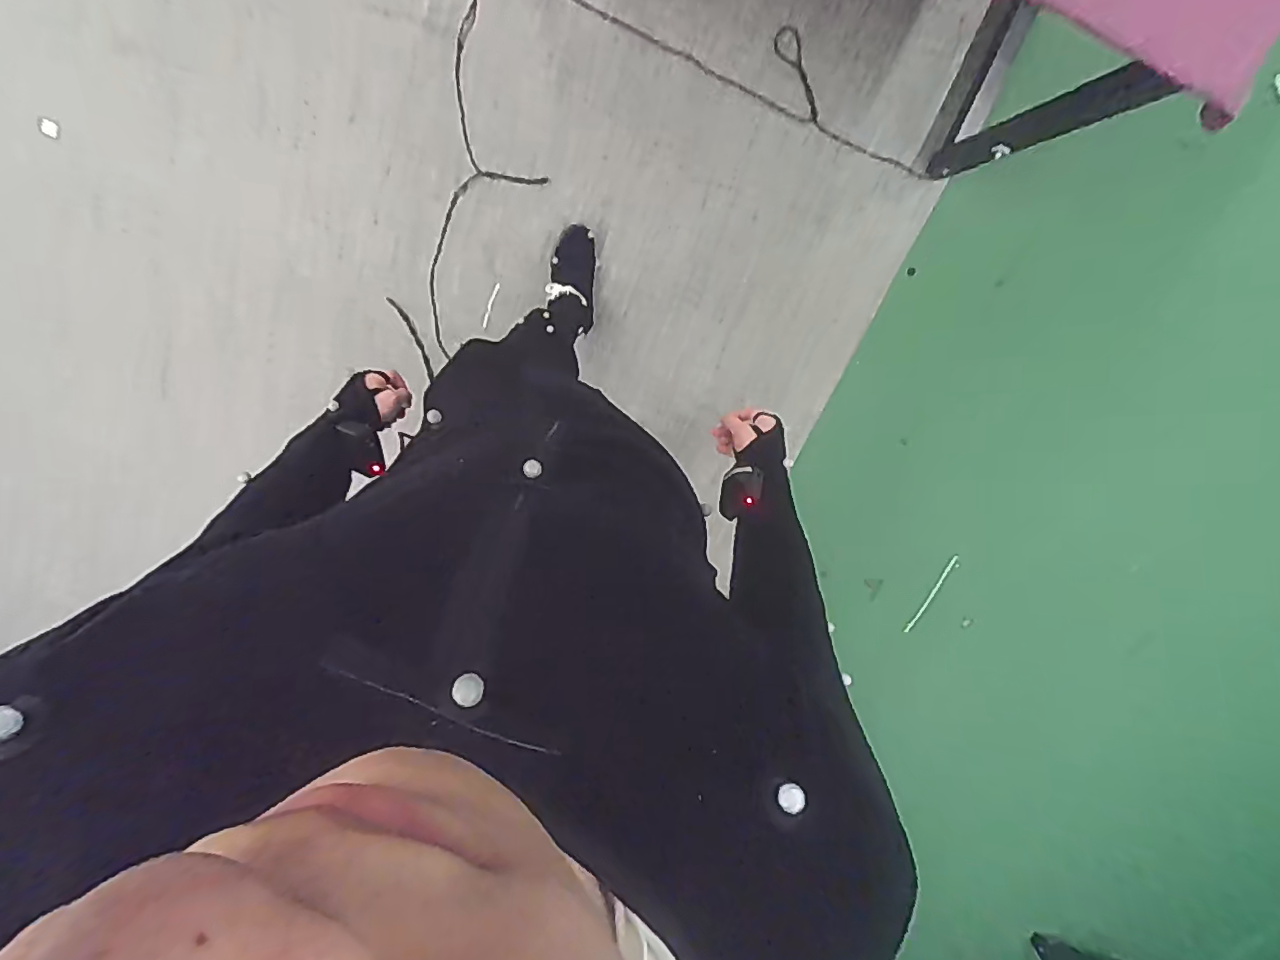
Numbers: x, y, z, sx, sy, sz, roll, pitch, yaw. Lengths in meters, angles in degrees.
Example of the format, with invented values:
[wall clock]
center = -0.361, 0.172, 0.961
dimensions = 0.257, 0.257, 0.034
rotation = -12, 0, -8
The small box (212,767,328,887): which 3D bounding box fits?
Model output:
[small box]
center = -0.932, 0.878, 1.380
dimensions = 0.168, 0.176, 0.179
rotation = 26, 106, -11
